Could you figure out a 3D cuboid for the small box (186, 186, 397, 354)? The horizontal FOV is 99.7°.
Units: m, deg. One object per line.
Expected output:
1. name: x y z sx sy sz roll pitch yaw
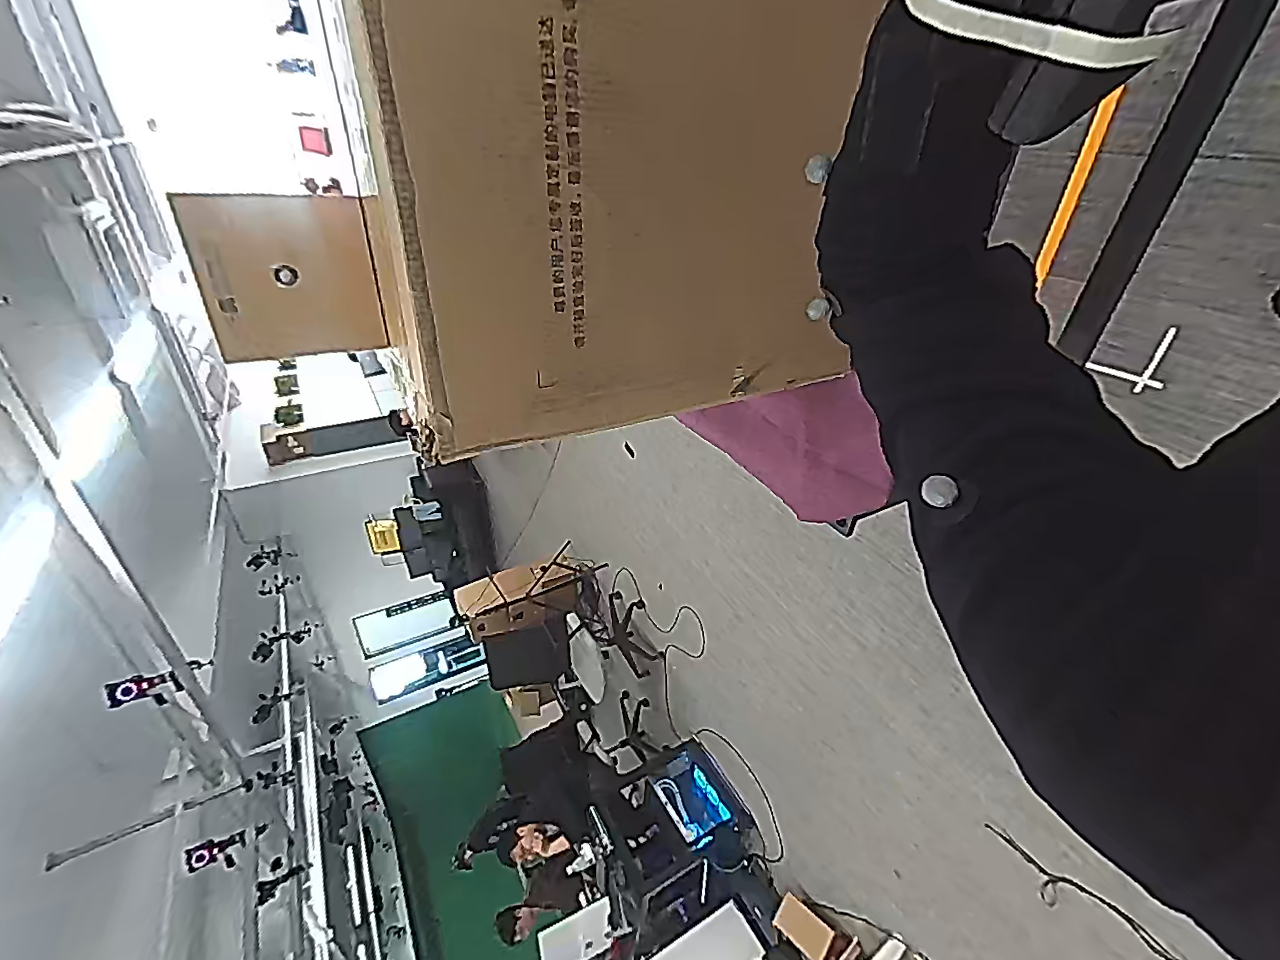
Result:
1. small box: -0.409 -0.254 0.648 0.179 0.176 0.168 37 134 50
